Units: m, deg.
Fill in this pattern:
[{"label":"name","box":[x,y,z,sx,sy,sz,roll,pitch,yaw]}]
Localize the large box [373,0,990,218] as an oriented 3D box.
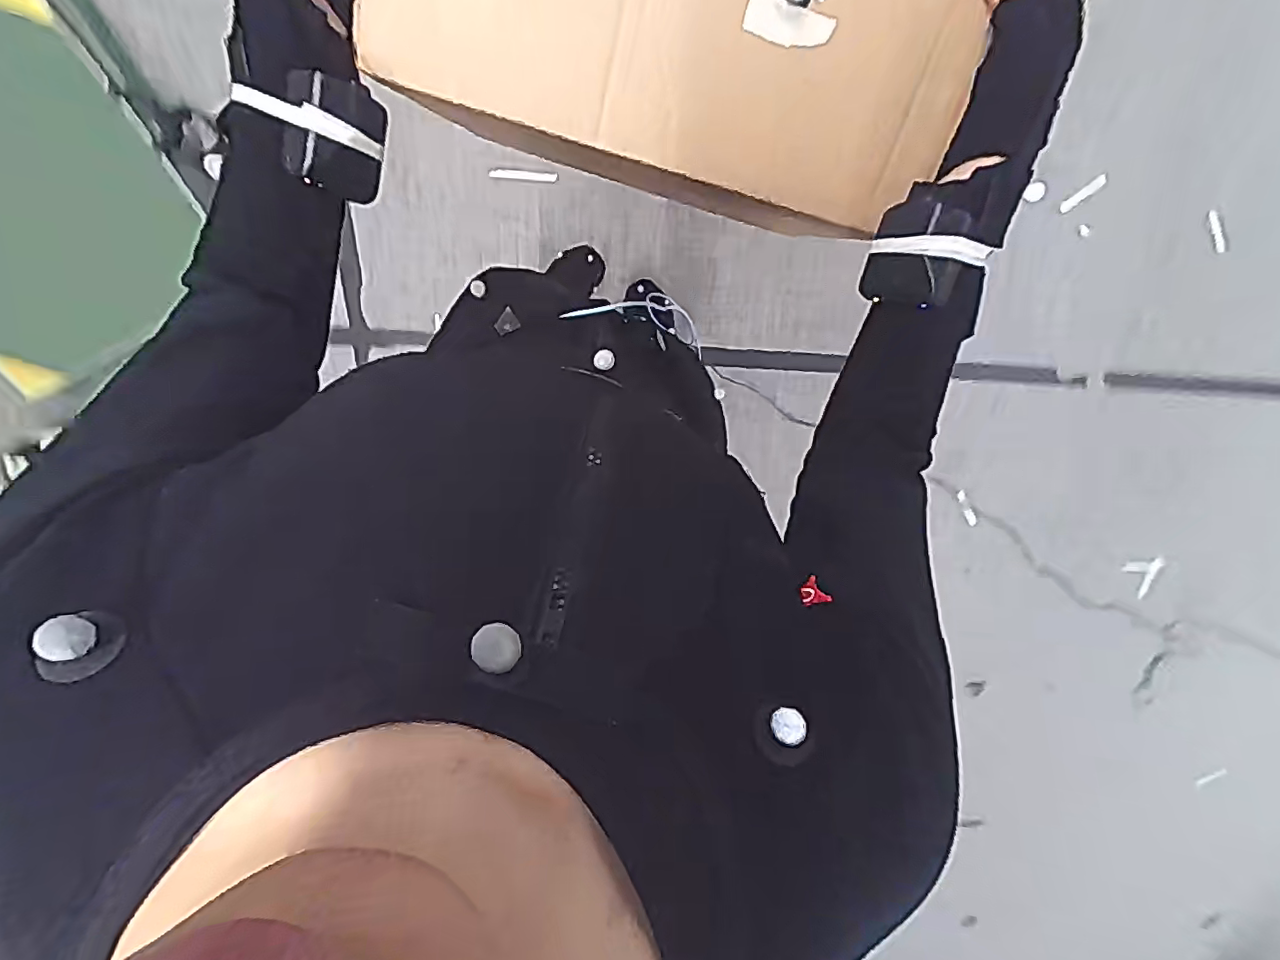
[{"label":"large box","box":[0.039,-0.437,0.461,0.408,0.320,0.320,12,116,-8]}]
